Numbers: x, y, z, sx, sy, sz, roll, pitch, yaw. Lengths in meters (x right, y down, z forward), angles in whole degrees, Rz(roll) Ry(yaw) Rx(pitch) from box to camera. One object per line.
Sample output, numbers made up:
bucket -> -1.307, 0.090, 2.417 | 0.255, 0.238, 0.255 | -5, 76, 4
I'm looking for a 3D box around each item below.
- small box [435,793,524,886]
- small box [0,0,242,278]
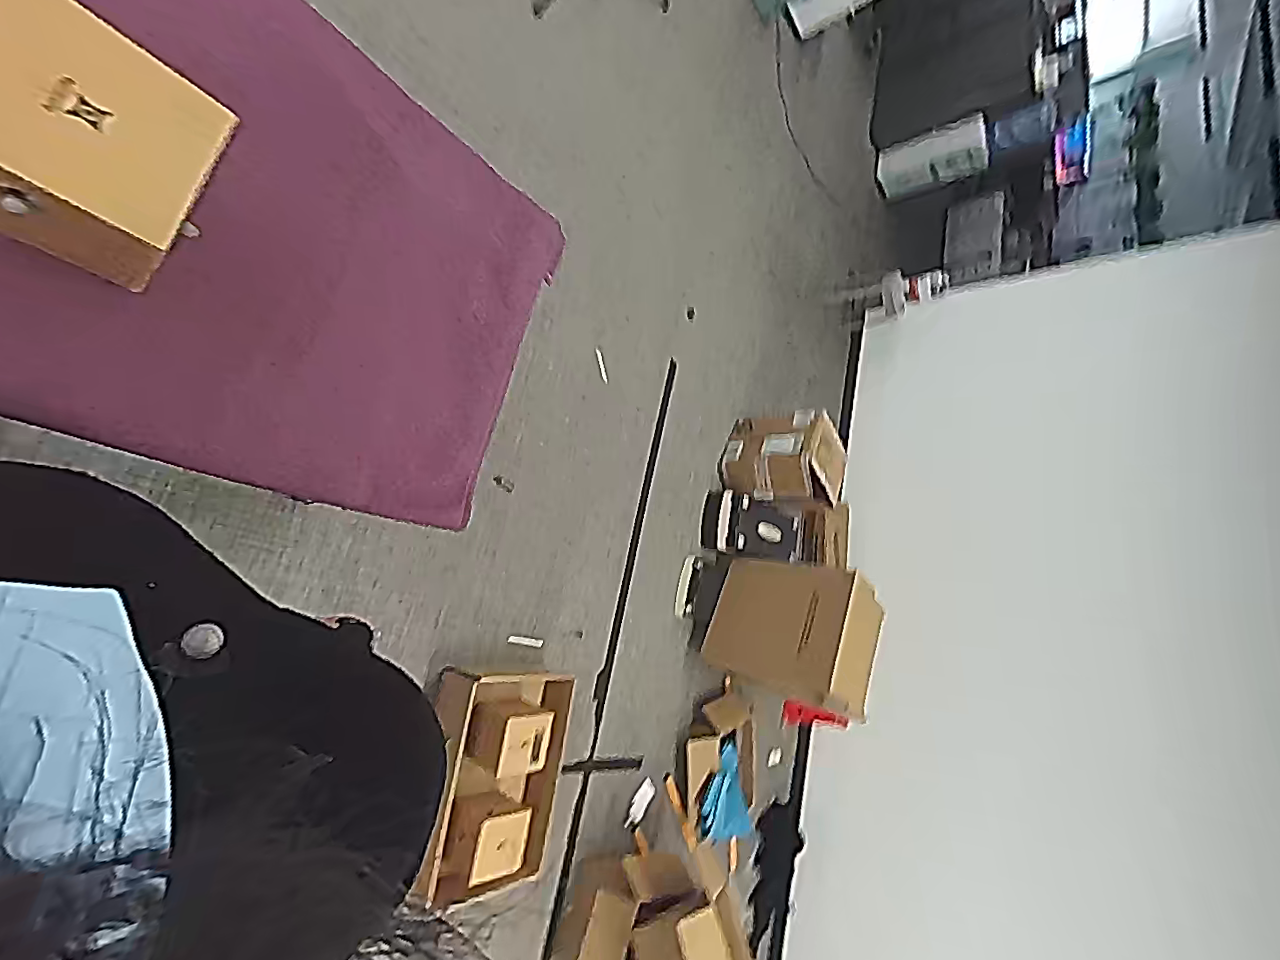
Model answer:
small box -> -0.478, 1.055, 1.604 | 0.179, 0.176, 0.168 | 24, 72, -47
small box -> -0.532, -0.318, 0.516 | 0.179, 0.176, 0.168 | 29, 69, -44
